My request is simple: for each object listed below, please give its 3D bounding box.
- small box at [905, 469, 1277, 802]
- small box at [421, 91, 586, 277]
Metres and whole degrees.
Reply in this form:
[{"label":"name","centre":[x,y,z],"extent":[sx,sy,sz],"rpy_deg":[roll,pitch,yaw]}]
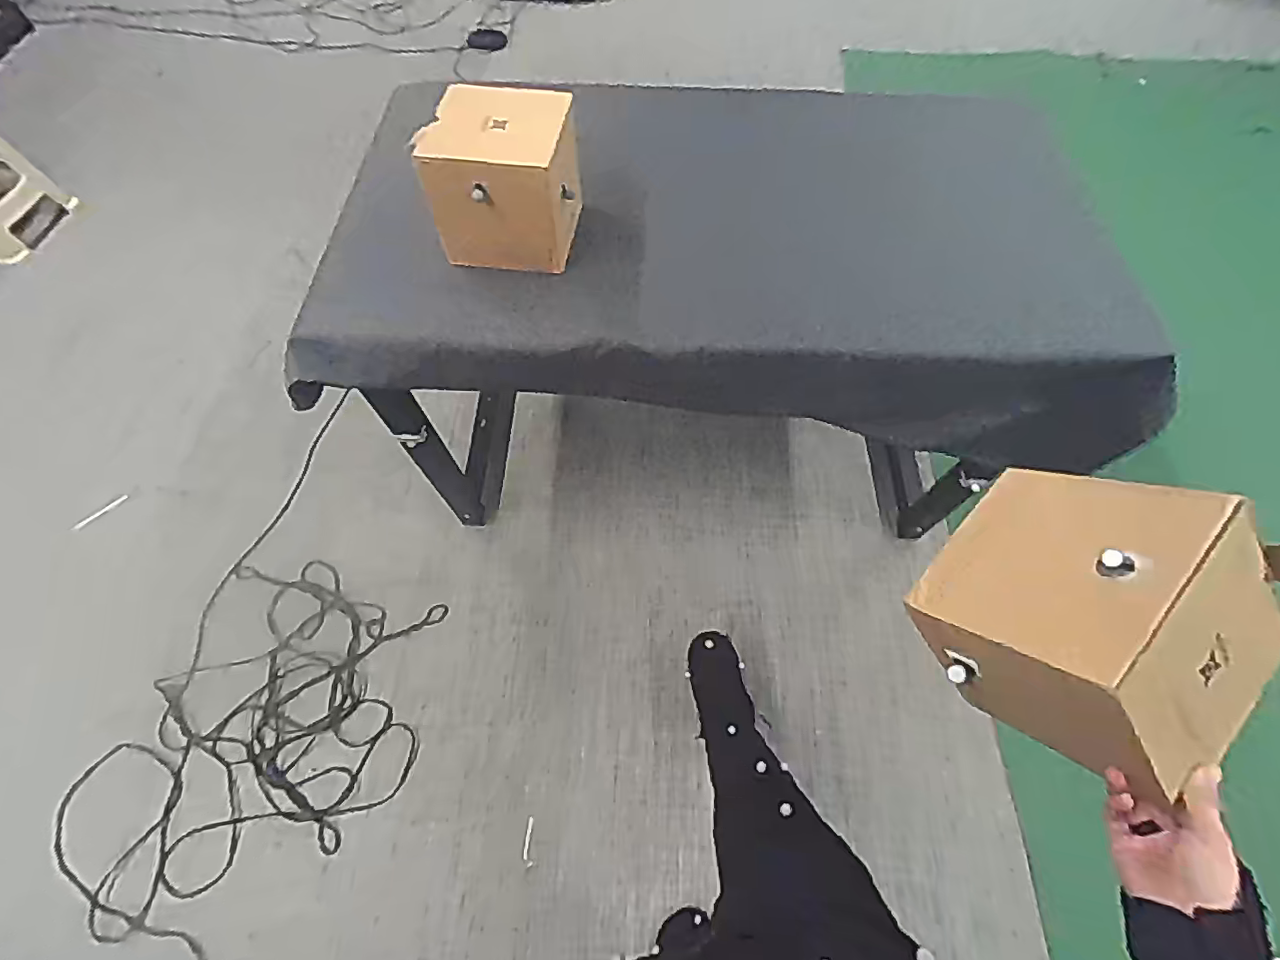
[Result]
[{"label":"small box","centre":[0.367,0.109,0.455],"extent":[0.179,0.176,0.168],"rpy_deg":[-45,112,-11]},{"label":"small box","centre":[-0.178,-0.417,0.777],"extent":[0.179,0.176,0.168],"rpy_deg":[7,62,3]}]
